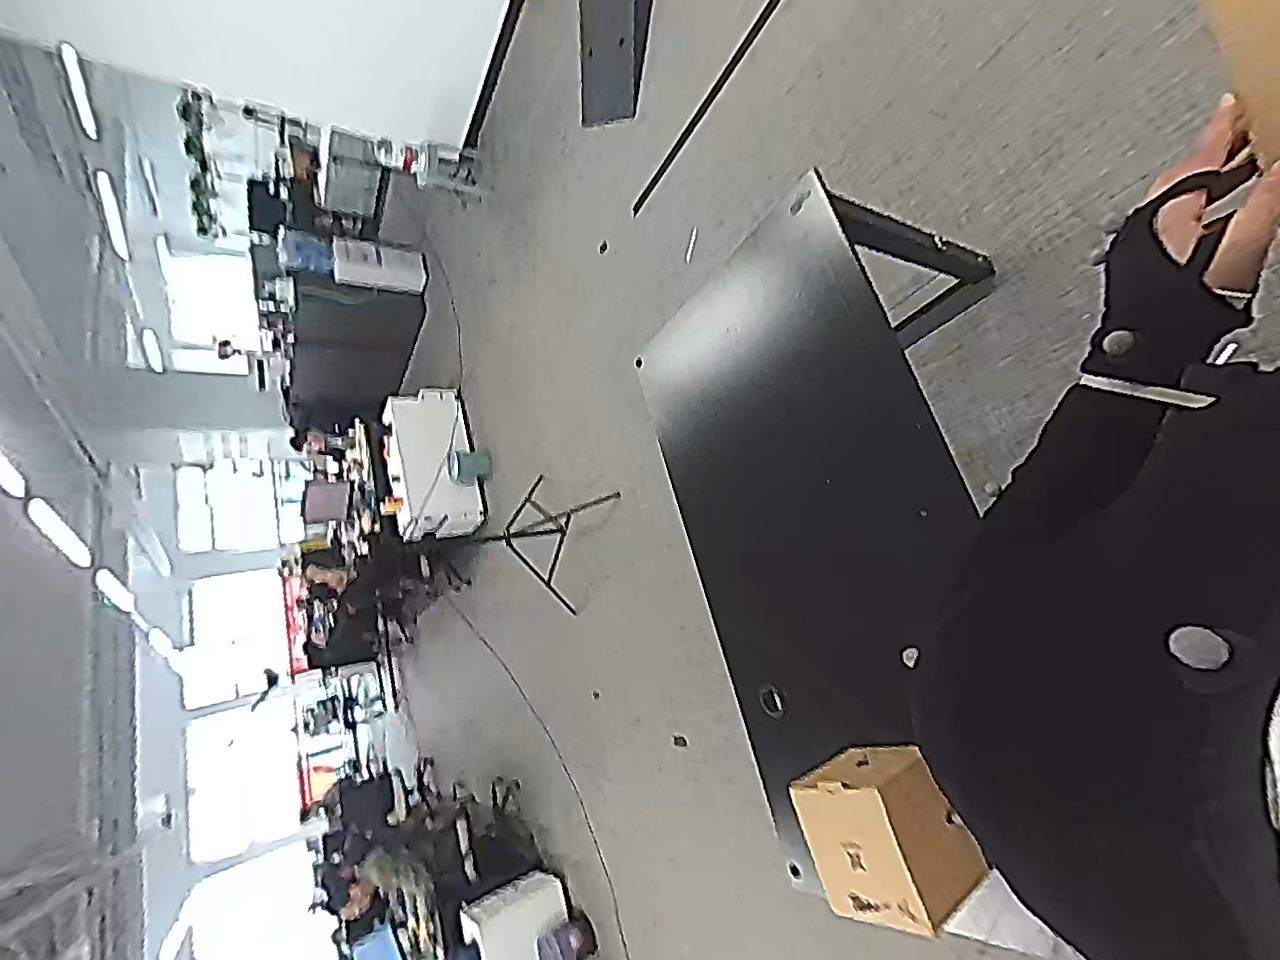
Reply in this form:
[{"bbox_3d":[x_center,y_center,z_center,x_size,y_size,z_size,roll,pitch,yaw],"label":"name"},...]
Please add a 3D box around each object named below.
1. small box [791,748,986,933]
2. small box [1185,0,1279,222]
[{"bbox_3d":[0.364,0.512,0.802,0.168,0.176,0.179,-39,62,49],"label":"small box"},{"bbox_3d":[0.468,-0.279,0.321,0.168,0.176,0.179,-20,79,52],"label":"small box"}]
